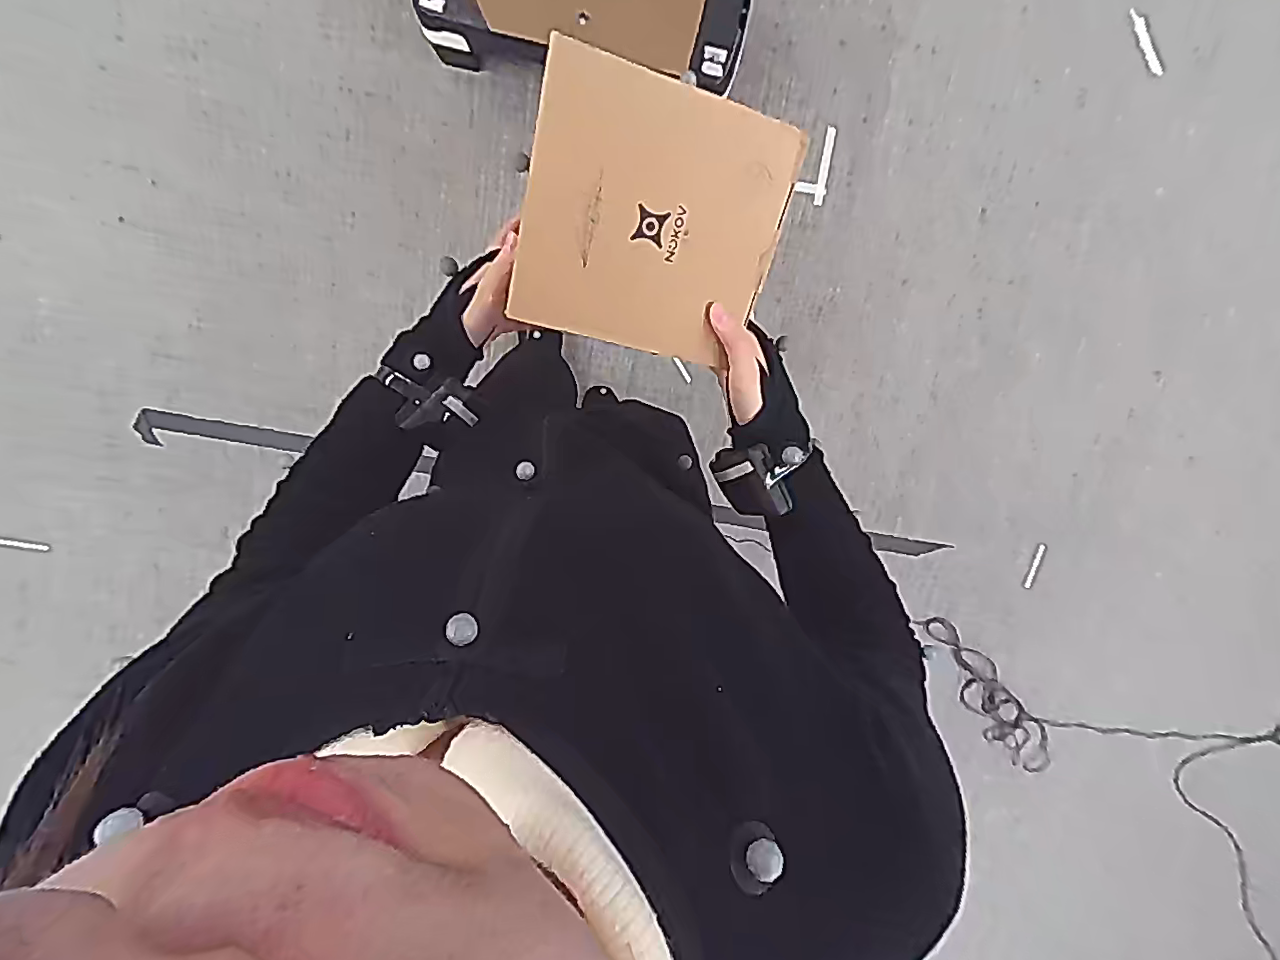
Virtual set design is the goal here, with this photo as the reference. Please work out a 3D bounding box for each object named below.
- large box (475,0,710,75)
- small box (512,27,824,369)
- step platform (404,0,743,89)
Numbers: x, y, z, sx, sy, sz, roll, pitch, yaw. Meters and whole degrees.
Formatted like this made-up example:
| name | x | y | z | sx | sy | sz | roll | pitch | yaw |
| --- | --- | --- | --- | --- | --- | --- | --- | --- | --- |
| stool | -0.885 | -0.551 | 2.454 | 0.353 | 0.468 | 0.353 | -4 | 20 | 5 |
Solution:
| name | x | y | z | sx | sy | sz | roll | pitch | yaw |
| --- | --- | --- | --- | --- | --- | --- | --- | --- | --- |
| large box | -0.068 | -0.941 | 0.904 | 0.408 | 0.320 | 0.320 | 9 | 103 | -3 |
| small box | 0.003 | -0.206 | 0.427 | 0.179 | 0.176 | 0.168 | 11 | 114 | -16 |
| step platform | -0.131 | -0.991 | 1.136 | 0.684 | 0.204 | 0.286 | 15 | 103 | -5 |
